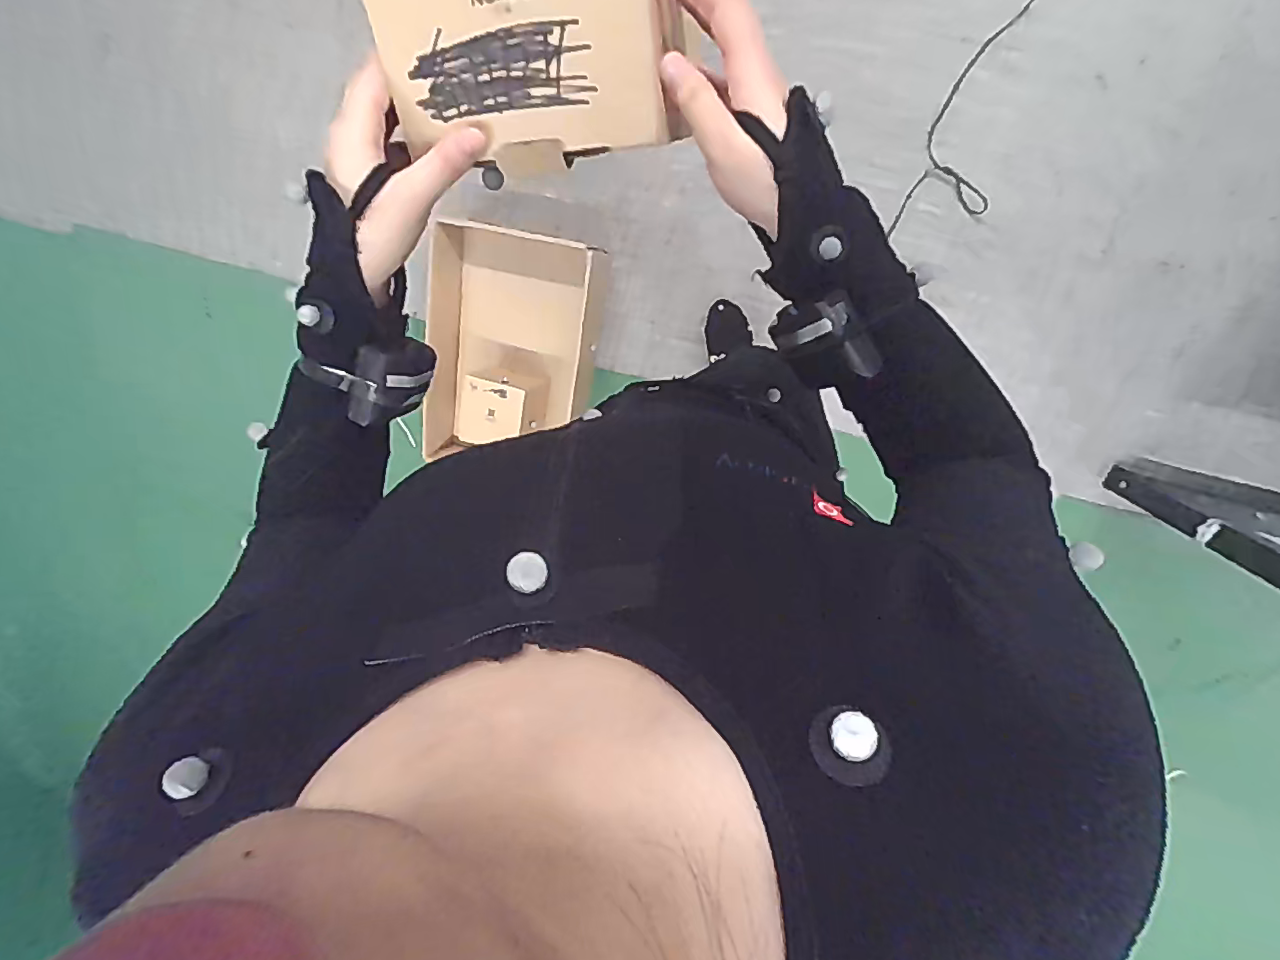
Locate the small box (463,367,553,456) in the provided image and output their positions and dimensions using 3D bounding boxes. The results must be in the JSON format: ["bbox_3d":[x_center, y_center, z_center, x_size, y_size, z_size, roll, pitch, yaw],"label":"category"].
[{"bbox_3d":[-0.341,-0.186,1.418,0.168,0.176,0.179,16,112,9],"label":"small box"}]
